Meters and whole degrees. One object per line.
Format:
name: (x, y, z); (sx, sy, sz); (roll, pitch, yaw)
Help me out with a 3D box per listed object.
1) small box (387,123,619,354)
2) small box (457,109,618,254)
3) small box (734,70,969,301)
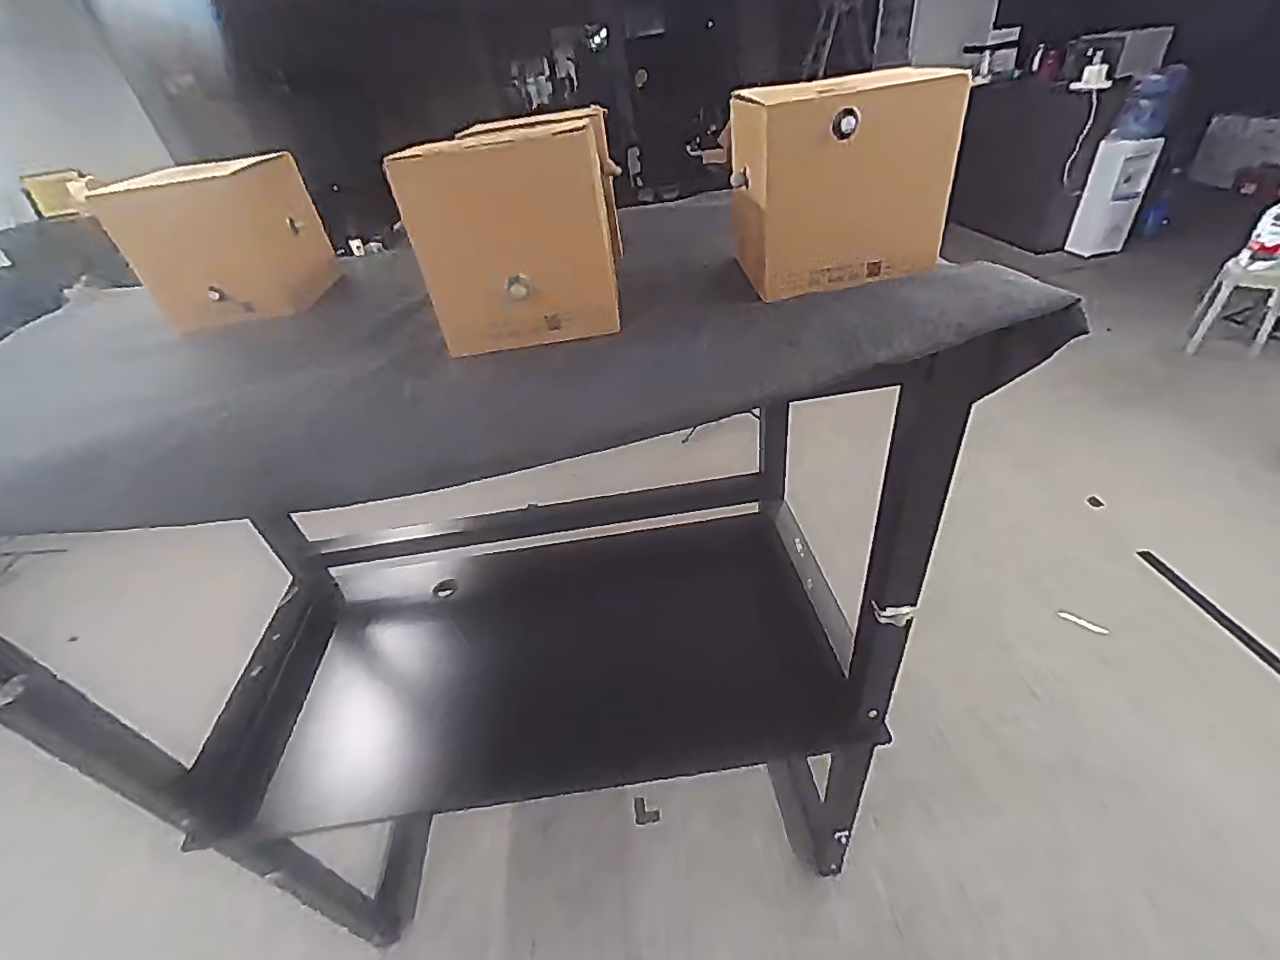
small box: (-0.115, -0.241, 0.537); (0.168, 0.176, 0.179); (-8, 36, 2)
small box: (-0.124, -0.391, 0.738); (0.179, 0.176, 0.168); (-8, 36, 2)
small box: (0.189, -0.295, 0.546); (0.168, 0.176, 0.179); (-7, 36, 4)
